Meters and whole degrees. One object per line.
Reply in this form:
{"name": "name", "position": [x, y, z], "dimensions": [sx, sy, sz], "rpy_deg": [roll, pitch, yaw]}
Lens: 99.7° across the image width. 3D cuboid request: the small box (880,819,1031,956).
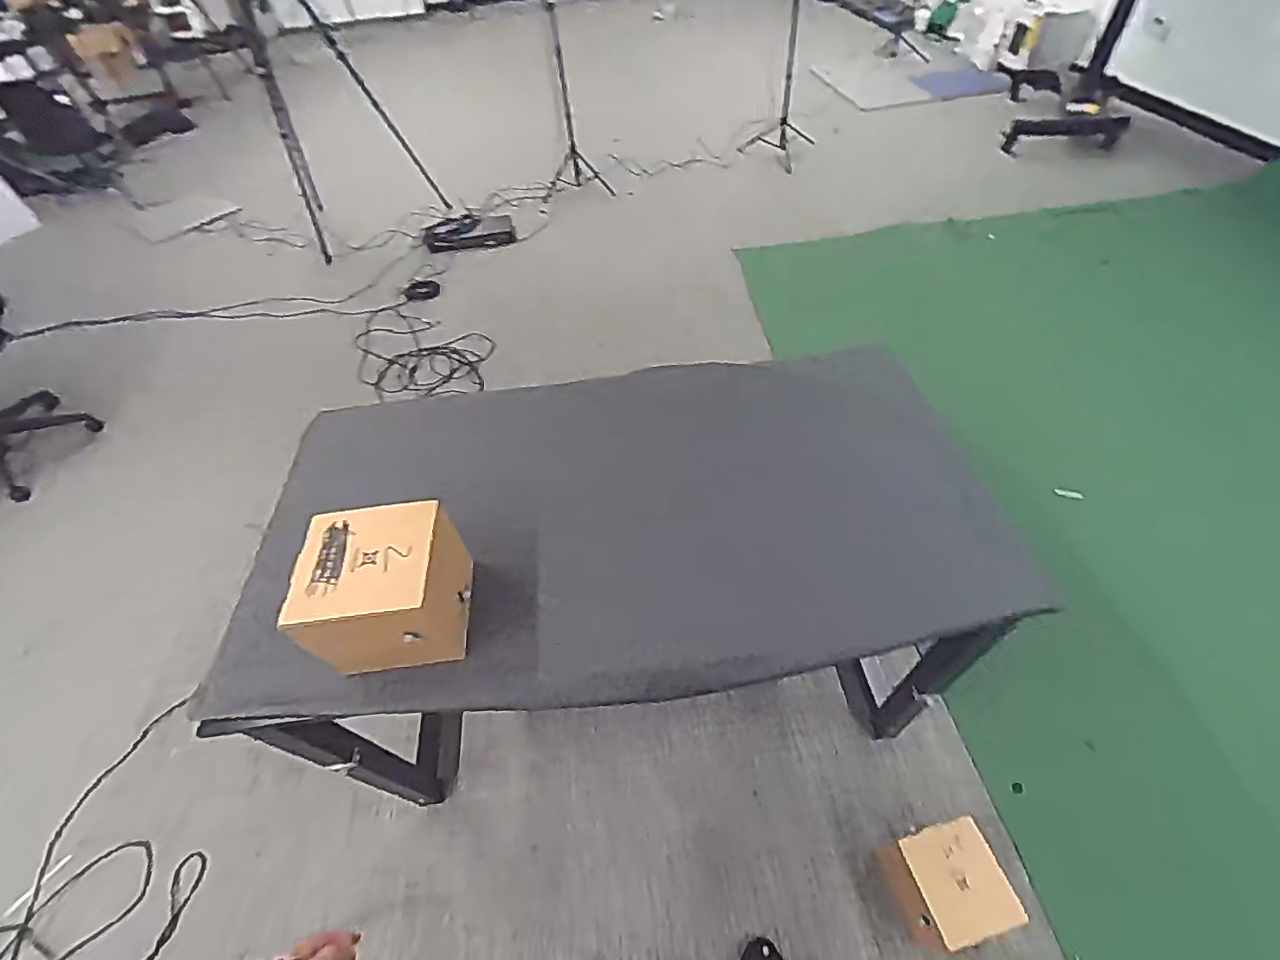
{"name": "small box", "position": [0.610, 0.804, 1.072], "dimensions": [0.168, 0.176, 0.179], "rpy_deg": [-14, 51, -6]}
